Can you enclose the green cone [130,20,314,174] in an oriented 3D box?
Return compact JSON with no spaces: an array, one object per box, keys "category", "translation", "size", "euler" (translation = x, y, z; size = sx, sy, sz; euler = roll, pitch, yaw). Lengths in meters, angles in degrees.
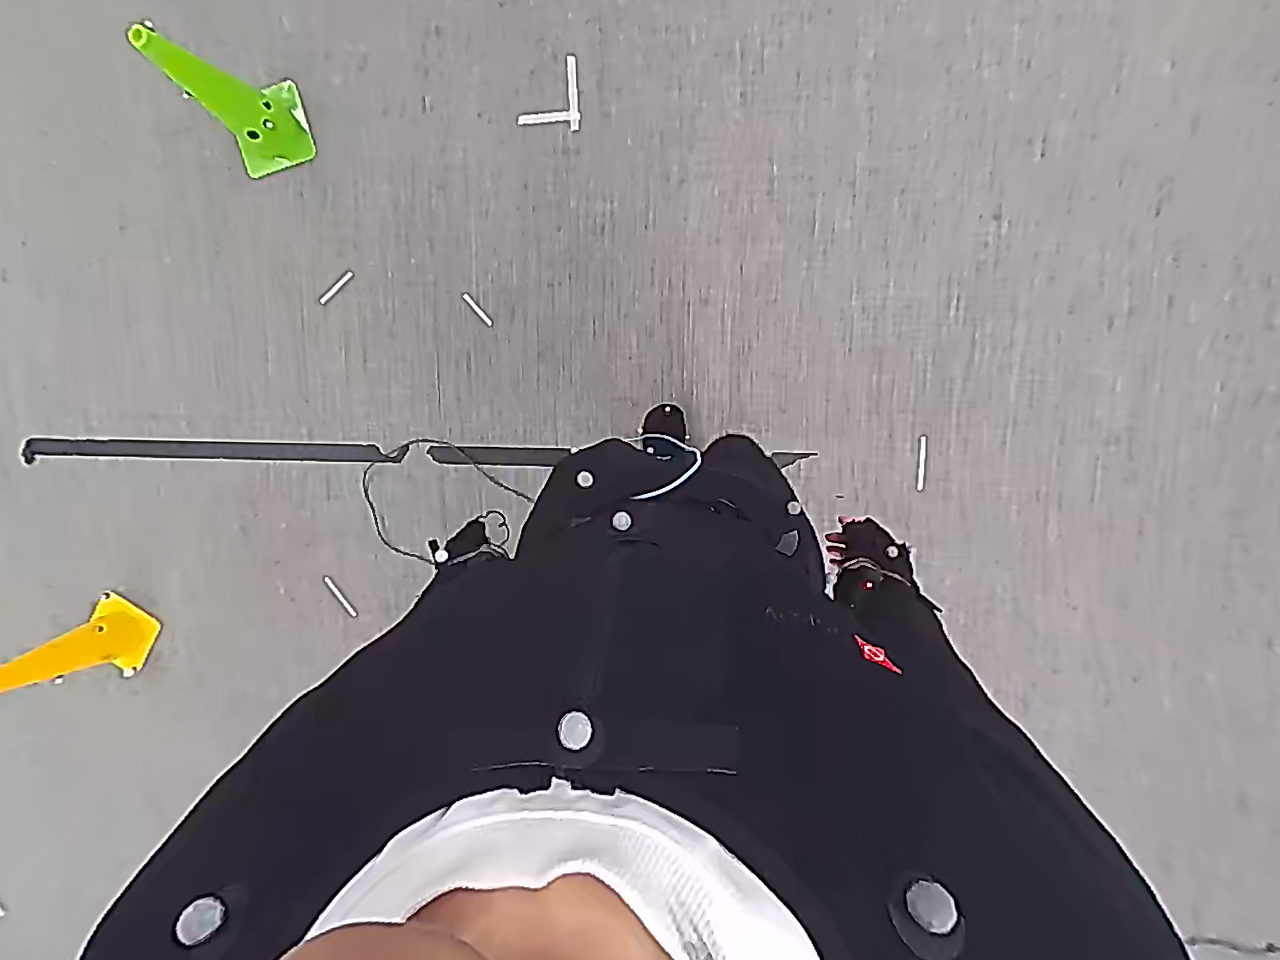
[{"category":"green cone","translation":[-0.979,-0.902,1.243],"size":[0.202,0.368,0.200],"euler":[-15,95,5]}]
